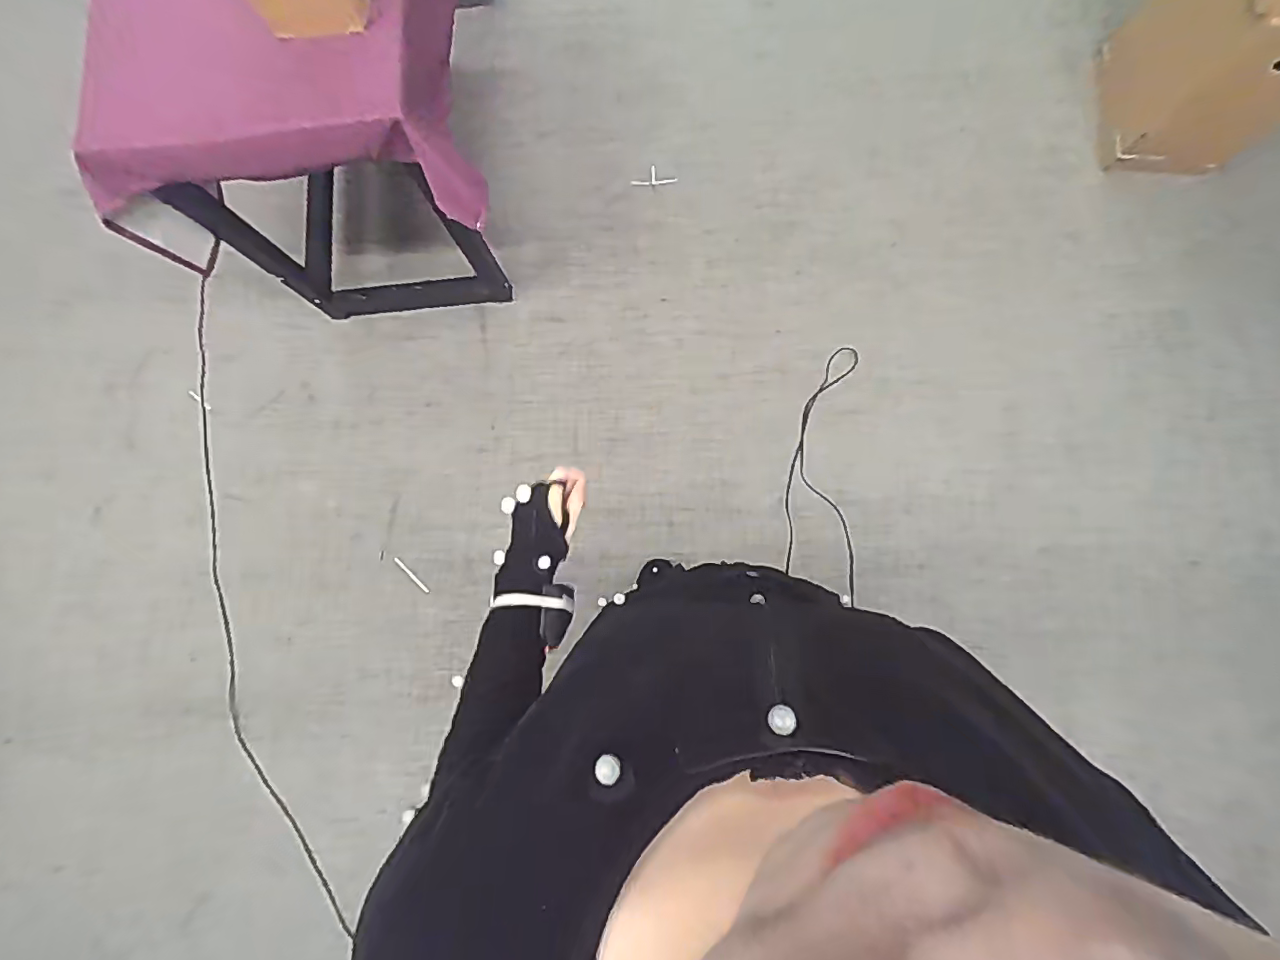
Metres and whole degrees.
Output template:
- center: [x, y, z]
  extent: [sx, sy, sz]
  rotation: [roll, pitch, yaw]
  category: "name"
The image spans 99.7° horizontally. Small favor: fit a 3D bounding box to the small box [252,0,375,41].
- center: [-0.577, -0.889, 0.916]
  extent: [0.179, 0.176, 0.168]
  rotation: [1, 82, 3]
  category: "small box"
